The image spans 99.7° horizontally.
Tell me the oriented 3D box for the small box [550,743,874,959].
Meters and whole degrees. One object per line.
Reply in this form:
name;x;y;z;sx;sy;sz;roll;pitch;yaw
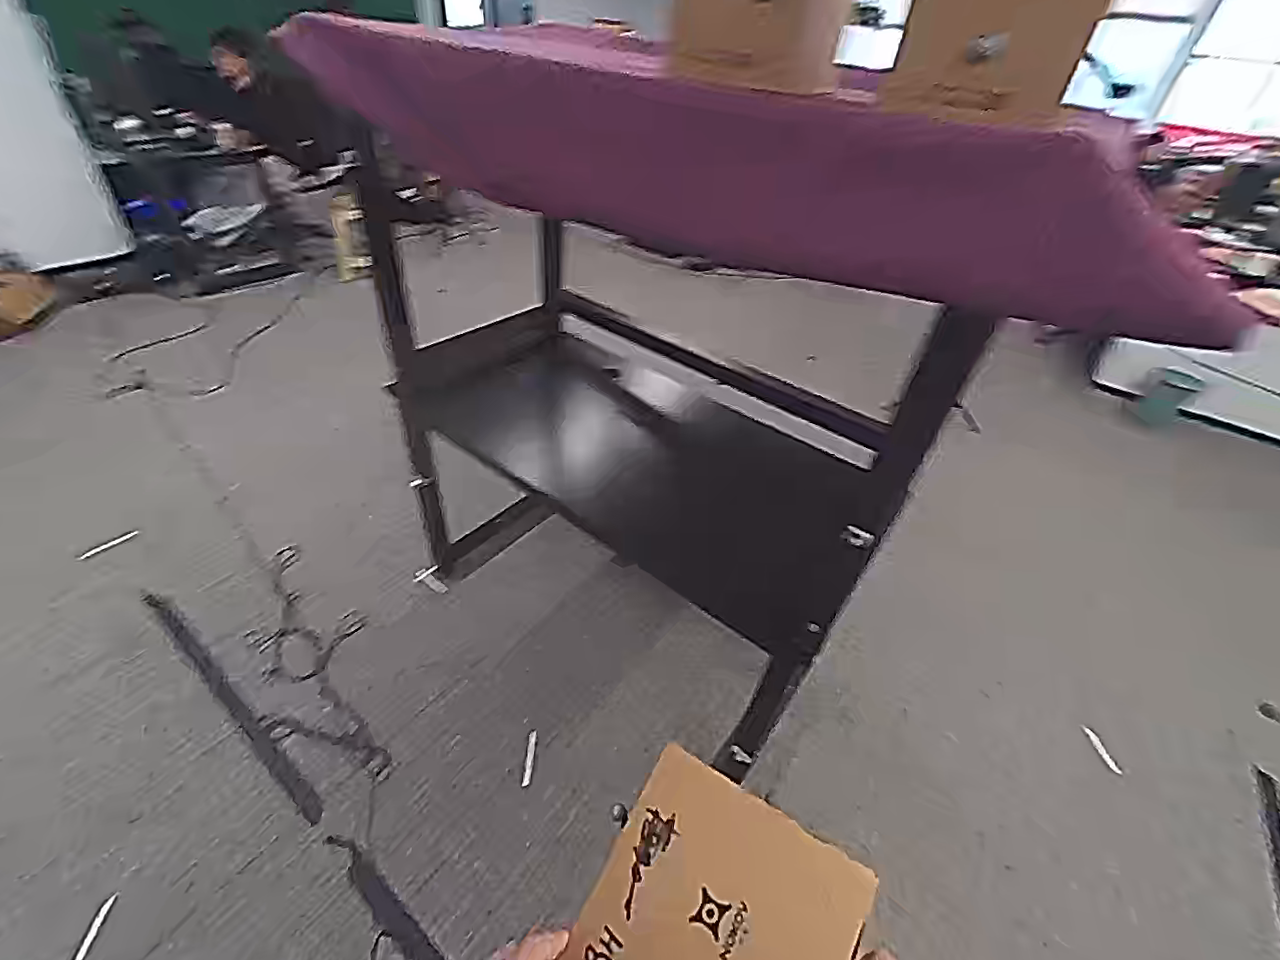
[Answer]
small box;0.051;0.336;0.440;0.179;0.176;0.168;27;66;12

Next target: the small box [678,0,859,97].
small box;0.157;-0.565;0.641;0.168;0.176;0.179;27;43;22

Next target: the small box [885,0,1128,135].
small box;0.356;-0.443;0.517;0.168;0.176;0.179;24;41;21
